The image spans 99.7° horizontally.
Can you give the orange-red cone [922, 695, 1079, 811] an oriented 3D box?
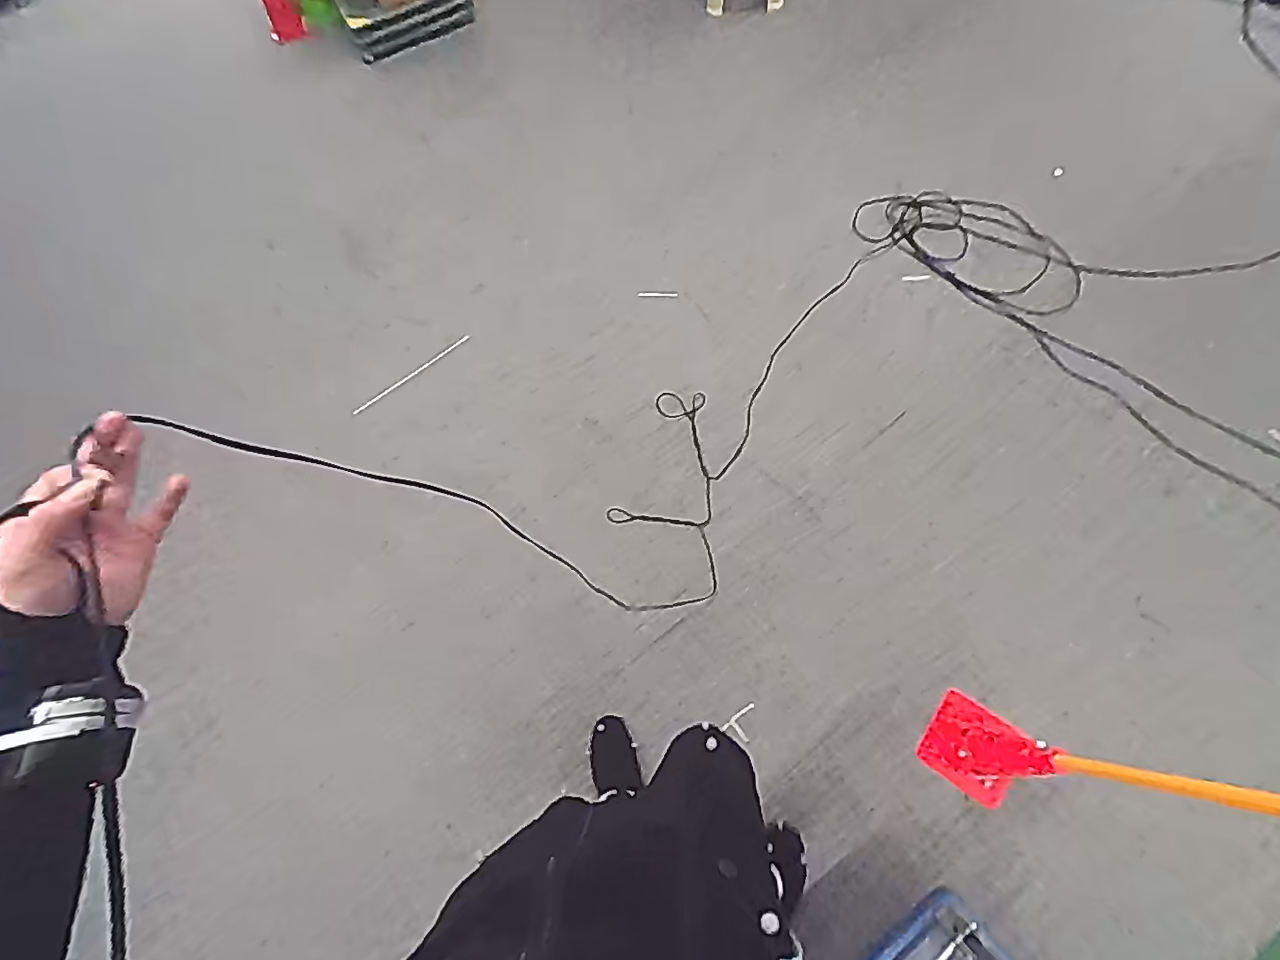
[{"bbox_3d":[0.789,0.581,1.139,0.198,0.360,0.199,35,74,17],"label":"orange-red cone"}]
